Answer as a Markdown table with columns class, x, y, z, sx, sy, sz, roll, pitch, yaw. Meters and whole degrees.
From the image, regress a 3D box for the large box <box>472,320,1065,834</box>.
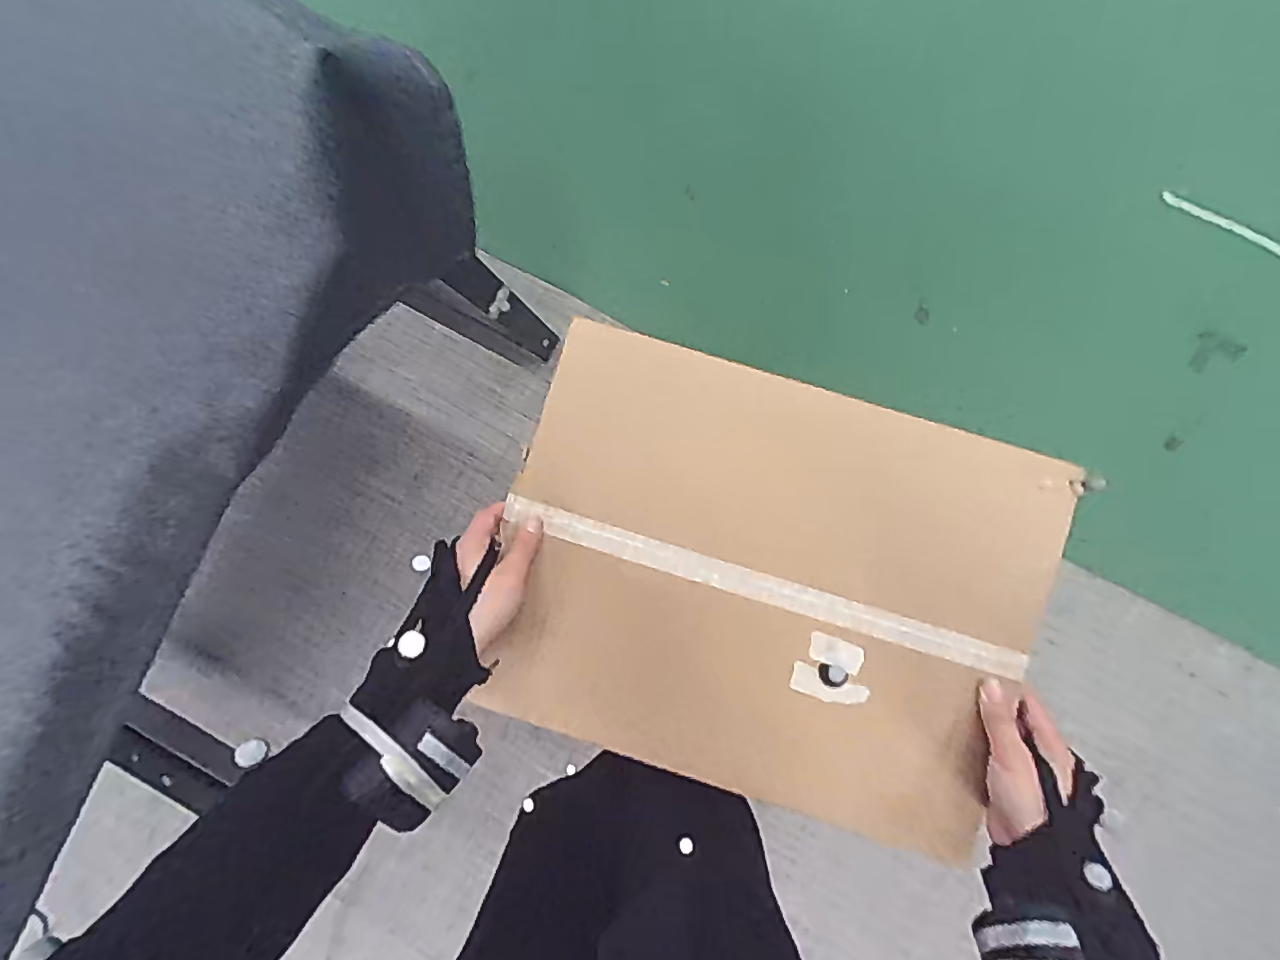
| class | x | y | z | sx | sy | sz | roll | pitch | yaw |
| --- | --- | --- | --- | --- | --- | --- | --- | --- | --- |
| large box | 0.100 | 0.076 | 0.566 | 0.408 | 0.320 | 0.320 | 17 | 89 | 2 |
